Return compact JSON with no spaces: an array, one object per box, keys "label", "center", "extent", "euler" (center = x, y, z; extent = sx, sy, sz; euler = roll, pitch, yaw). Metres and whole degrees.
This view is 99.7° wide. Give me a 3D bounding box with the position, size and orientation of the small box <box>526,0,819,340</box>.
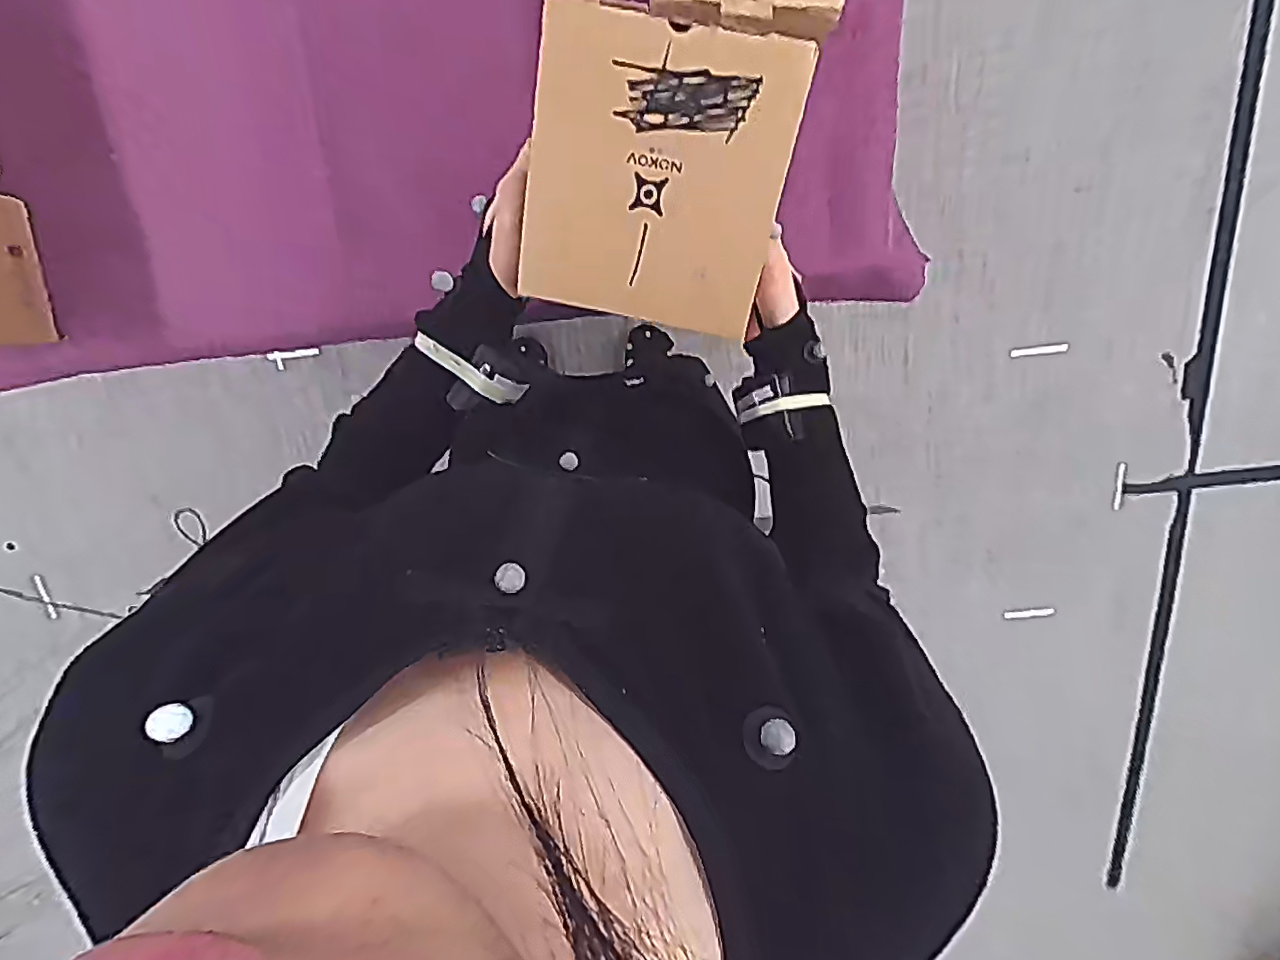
[{"label":"small box","center":[0.020,-0.224,0.431],"extent":[0.168,0.176,0.179],"euler":[12,111,0]}]
